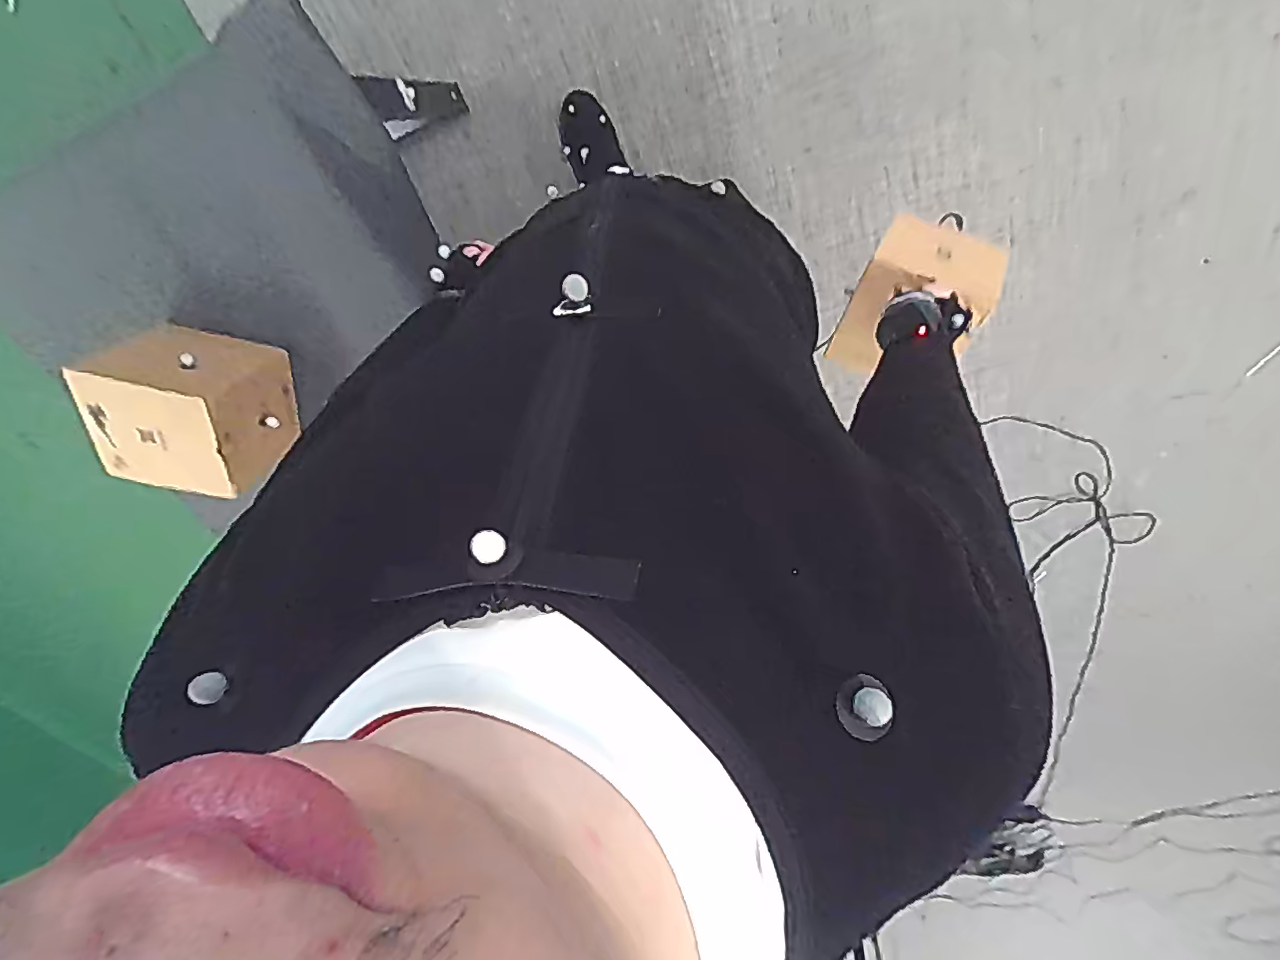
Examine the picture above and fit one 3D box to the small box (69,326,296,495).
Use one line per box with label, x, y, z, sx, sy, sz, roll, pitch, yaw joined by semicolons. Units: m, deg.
small box;-0.625;-0.105;0.776;0.179;0.176;0.168;11;125;-5
